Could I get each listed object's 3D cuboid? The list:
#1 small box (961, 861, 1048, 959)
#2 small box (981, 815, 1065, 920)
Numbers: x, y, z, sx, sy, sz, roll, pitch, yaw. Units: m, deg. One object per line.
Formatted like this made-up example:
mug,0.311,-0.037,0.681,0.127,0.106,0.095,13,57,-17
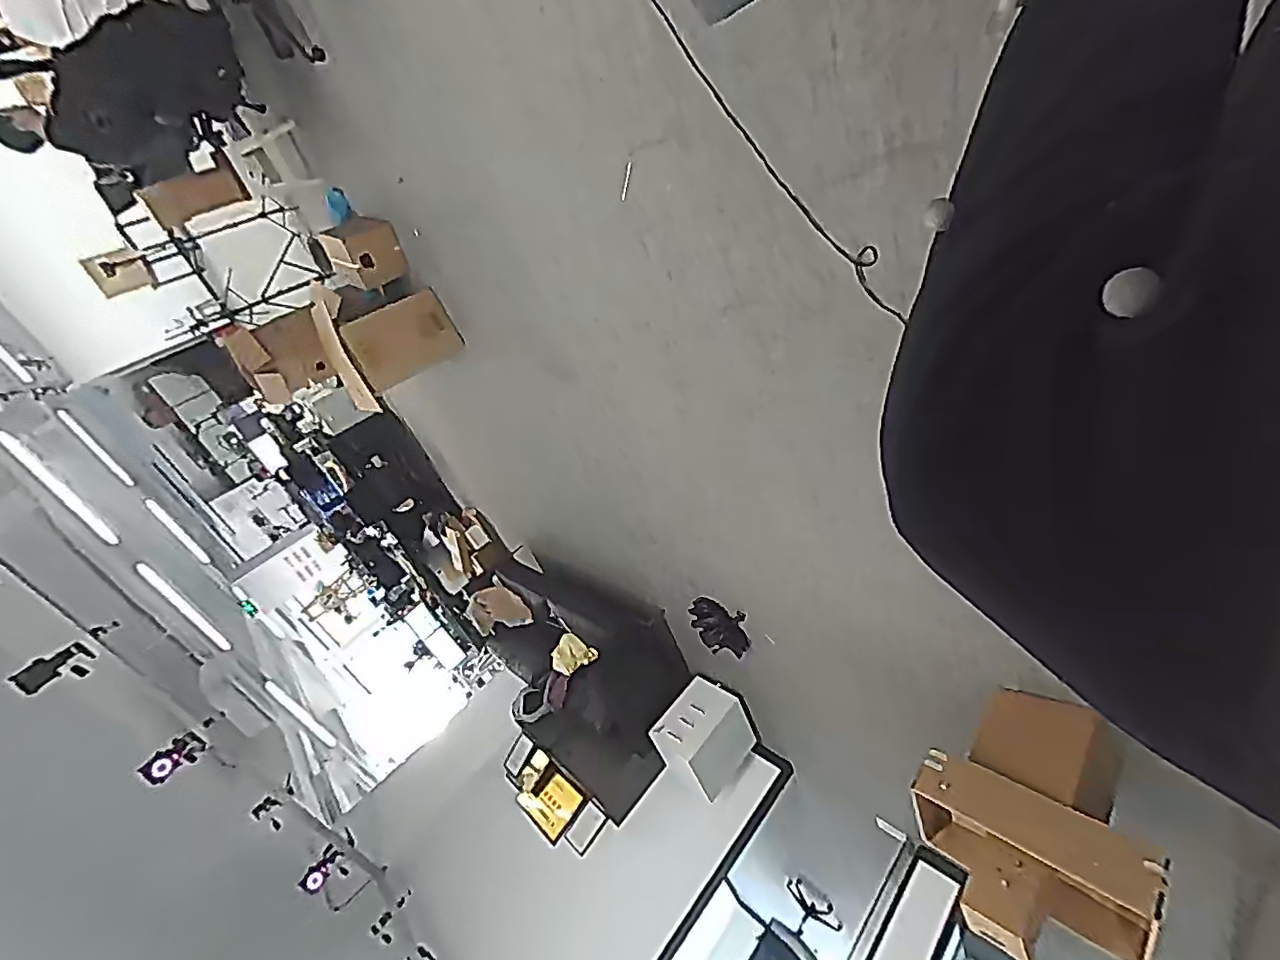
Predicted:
small box,1.096,1.305,1.620,0.168,0.176,0.179,5,128,51
small box,1.205,1.209,1.696,0.168,0.176,0.179,3,129,51
